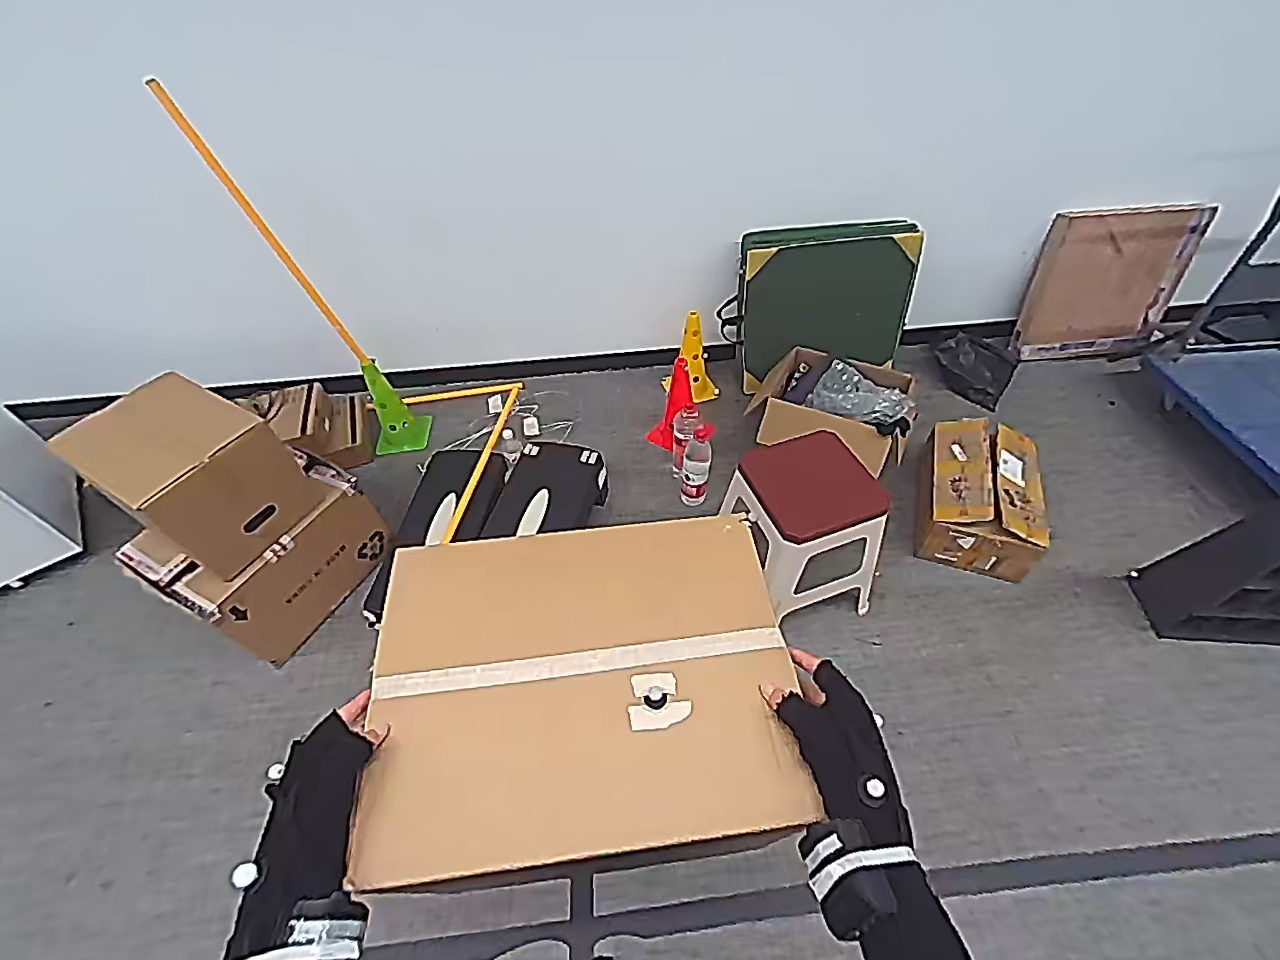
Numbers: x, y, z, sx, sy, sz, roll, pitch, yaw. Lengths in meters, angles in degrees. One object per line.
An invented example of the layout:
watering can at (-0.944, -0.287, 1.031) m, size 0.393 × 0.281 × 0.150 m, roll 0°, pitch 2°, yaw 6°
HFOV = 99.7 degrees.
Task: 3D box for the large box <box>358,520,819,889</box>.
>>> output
large box at (-0.057, 0.278, 0.665) m, size 0.408 × 0.320 × 0.320 m, roll -5°, pitch 52°, yaw -4°
